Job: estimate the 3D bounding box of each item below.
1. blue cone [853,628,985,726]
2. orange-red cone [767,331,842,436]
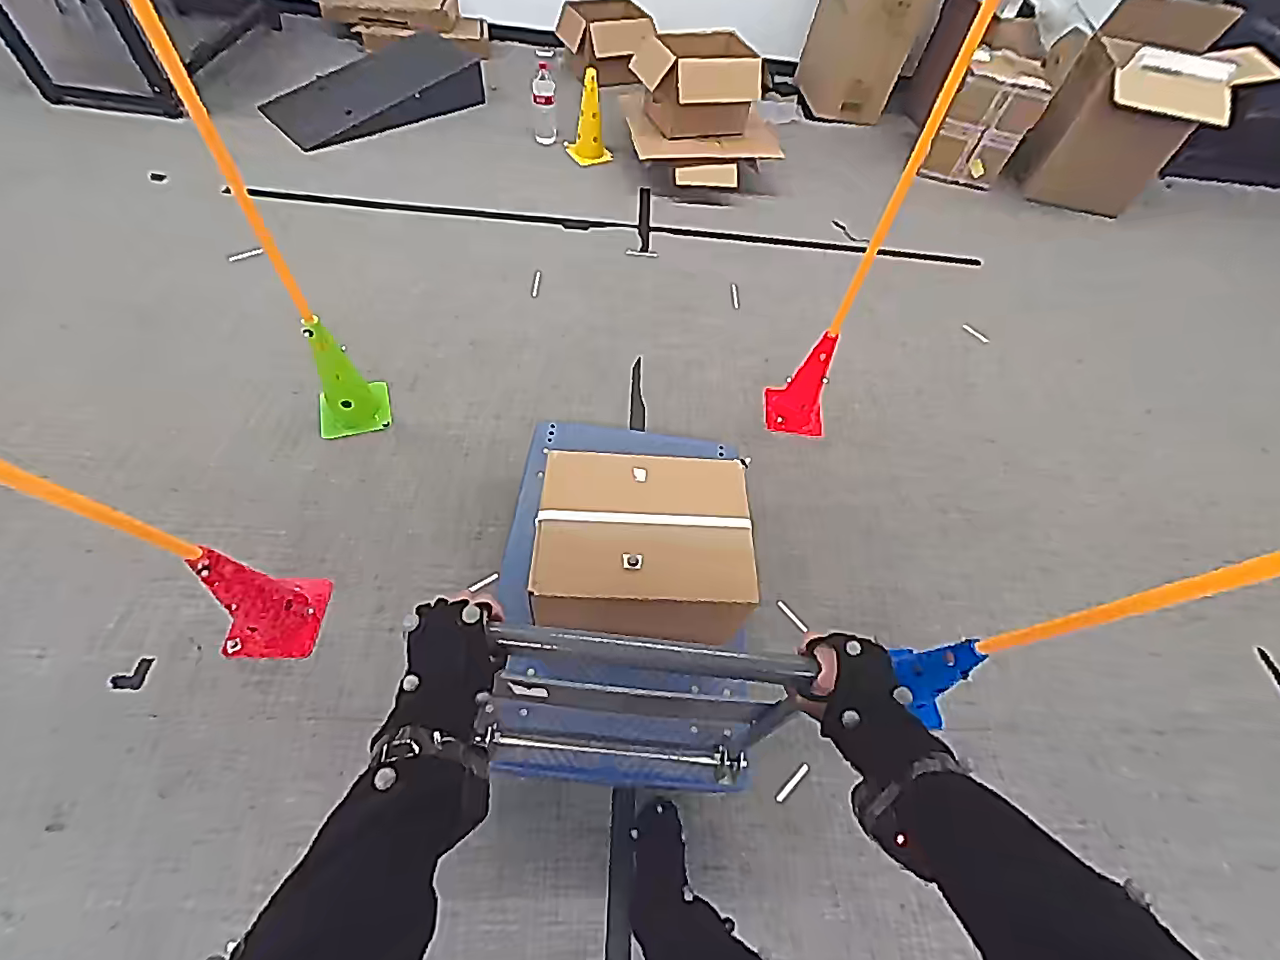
[{"bbox_3d":[0.675,0.435,1.255,0.193,0.380,0.192,1,55,-7],"label":"blue cone"},{"bbox_3d":[0.561,-0.332,1.733,0.199,0.360,0.198,10,57,-2],"label":"orange-red cone"}]
